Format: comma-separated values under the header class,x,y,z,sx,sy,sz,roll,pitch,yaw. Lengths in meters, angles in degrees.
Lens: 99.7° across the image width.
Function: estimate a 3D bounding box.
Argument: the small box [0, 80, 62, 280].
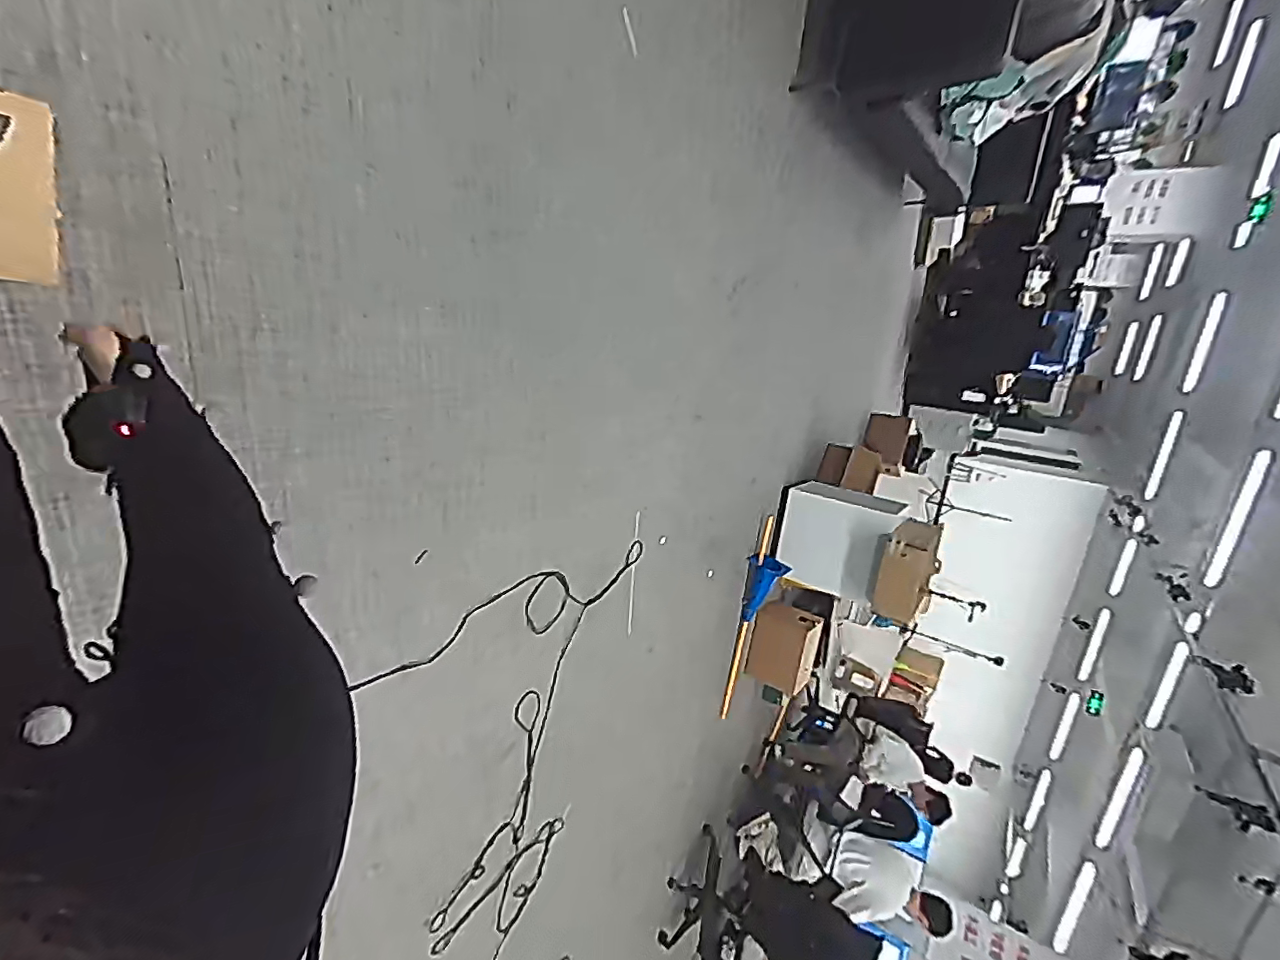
class,x,y,z,sx,sy,sz,roll,pitch,yaw
small box,-0.700,-0.306,0.523,0.168,0.176,0.179,-8,112,-55
